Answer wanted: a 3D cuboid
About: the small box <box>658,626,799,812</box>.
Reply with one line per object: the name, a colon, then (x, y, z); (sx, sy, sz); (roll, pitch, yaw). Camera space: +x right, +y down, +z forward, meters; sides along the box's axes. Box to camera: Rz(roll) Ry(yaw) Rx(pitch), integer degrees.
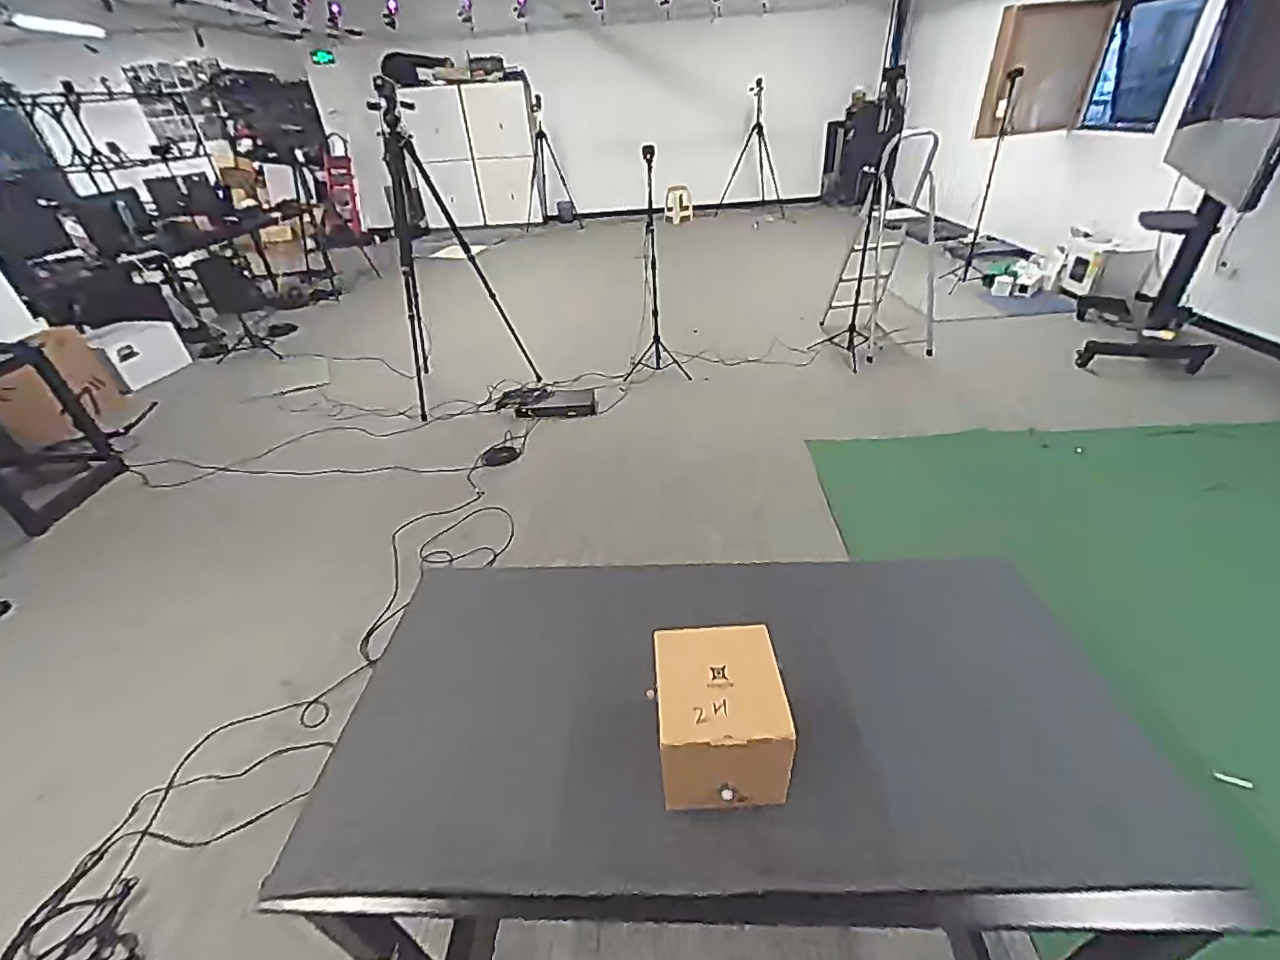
small box: (0.111, 0.330, 0.755); (0.168, 0.176, 0.179); (-4, 33, 1)
